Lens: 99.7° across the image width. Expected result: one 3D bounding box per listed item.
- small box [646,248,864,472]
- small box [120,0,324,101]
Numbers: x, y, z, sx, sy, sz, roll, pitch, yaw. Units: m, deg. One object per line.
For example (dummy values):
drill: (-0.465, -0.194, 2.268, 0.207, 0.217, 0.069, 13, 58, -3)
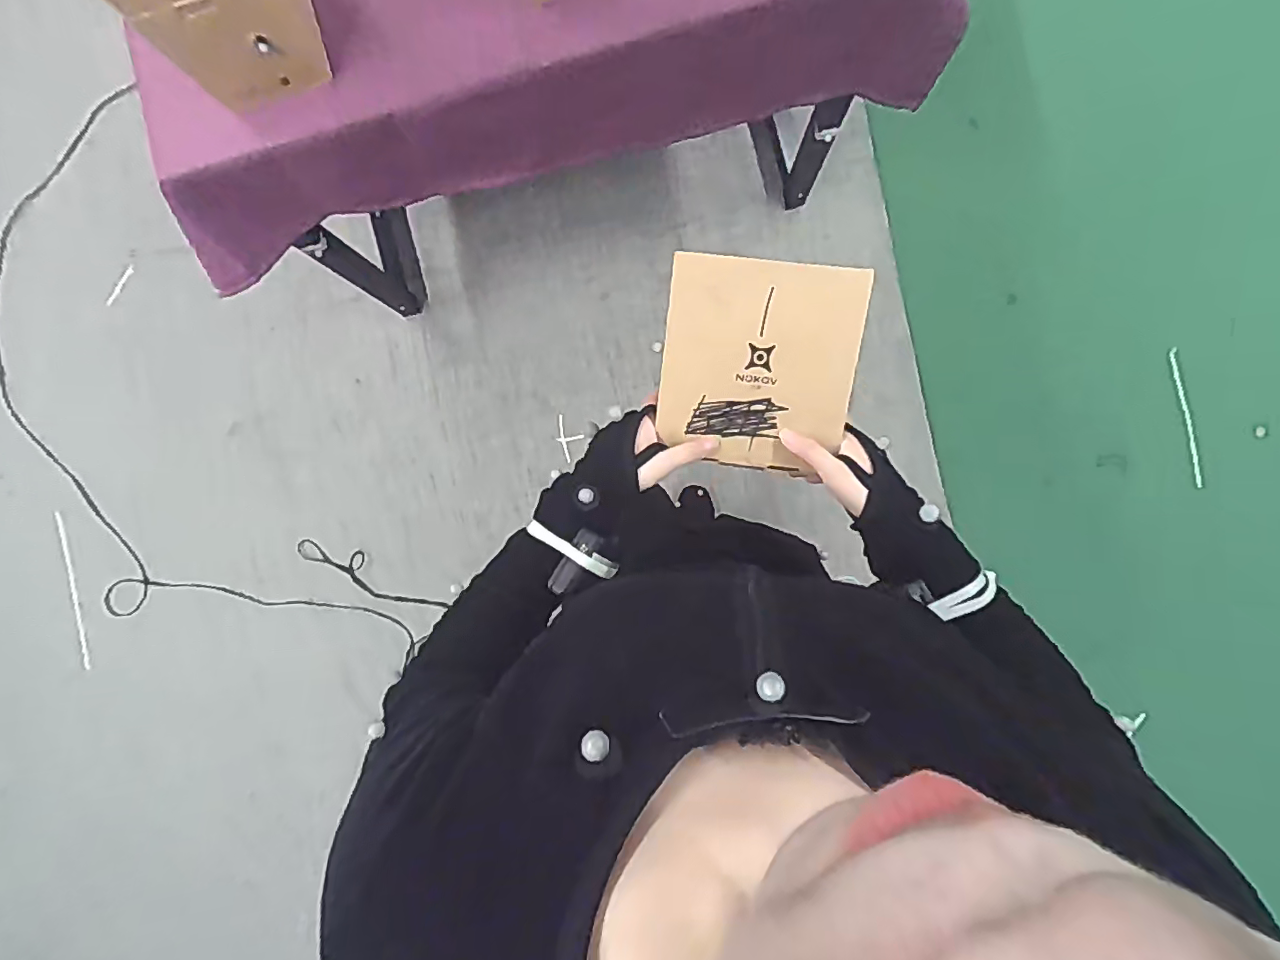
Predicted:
small box: (0.102, -0.119, 0.544, 0.168, 0.176, 0.179, 7, 103, 3)
small box: (-0.569, -0.661, 0.736, 0.168, 0.176, 0.179, -16, 88, 1)
